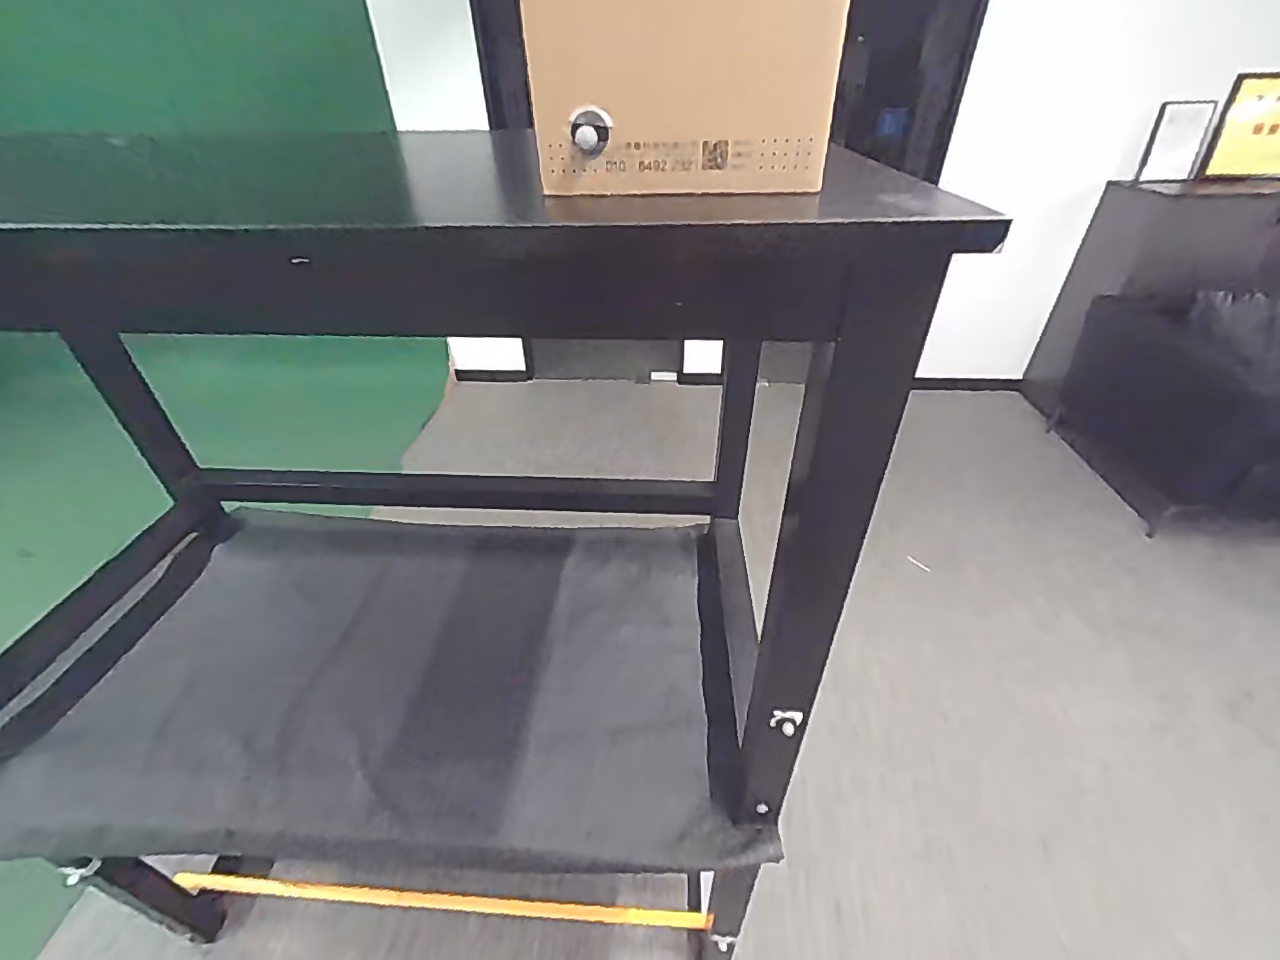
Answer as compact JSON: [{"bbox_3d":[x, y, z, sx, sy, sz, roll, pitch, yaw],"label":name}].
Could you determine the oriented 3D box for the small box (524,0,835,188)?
[{"bbox_3d":[0.029,-0.290,0.345,0.168,0.176,0.179,3,35,6],"label":"small box"}]
